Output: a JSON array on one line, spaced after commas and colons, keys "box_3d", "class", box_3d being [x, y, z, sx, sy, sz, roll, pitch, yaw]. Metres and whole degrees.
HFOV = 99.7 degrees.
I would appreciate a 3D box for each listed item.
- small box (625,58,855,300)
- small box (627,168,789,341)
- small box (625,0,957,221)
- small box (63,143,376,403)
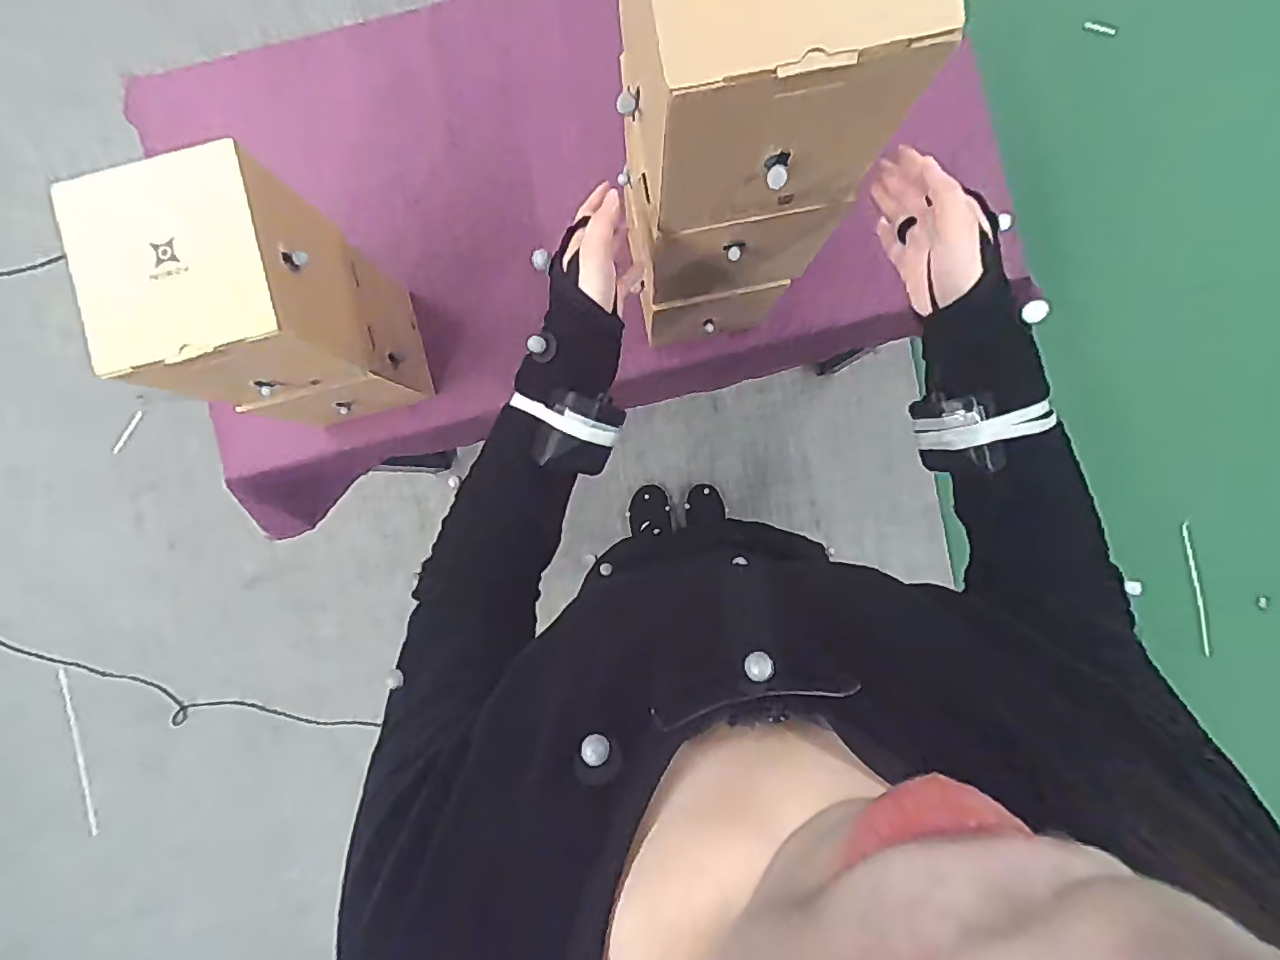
[{"box_3d": [0.087, -0.297, 0.542, 0.179, 0.176, 0.168, -10, 90, 0], "class": "small box"}, {"box_3d": [0.080, -0.291, 0.707, 0.168, 0.176, 0.179, -11, 89, 0], "class": "small box"}, {"box_3d": [0.082, -0.305, 0.378, 0.168, 0.176, 0.179, -10, 90, 0], "class": "small box"}, {"box_3d": [-0.399, -0.189, 0.546, 0.168, 0.176, 0.179, -14, 90, 1], "class": "small box"}]
